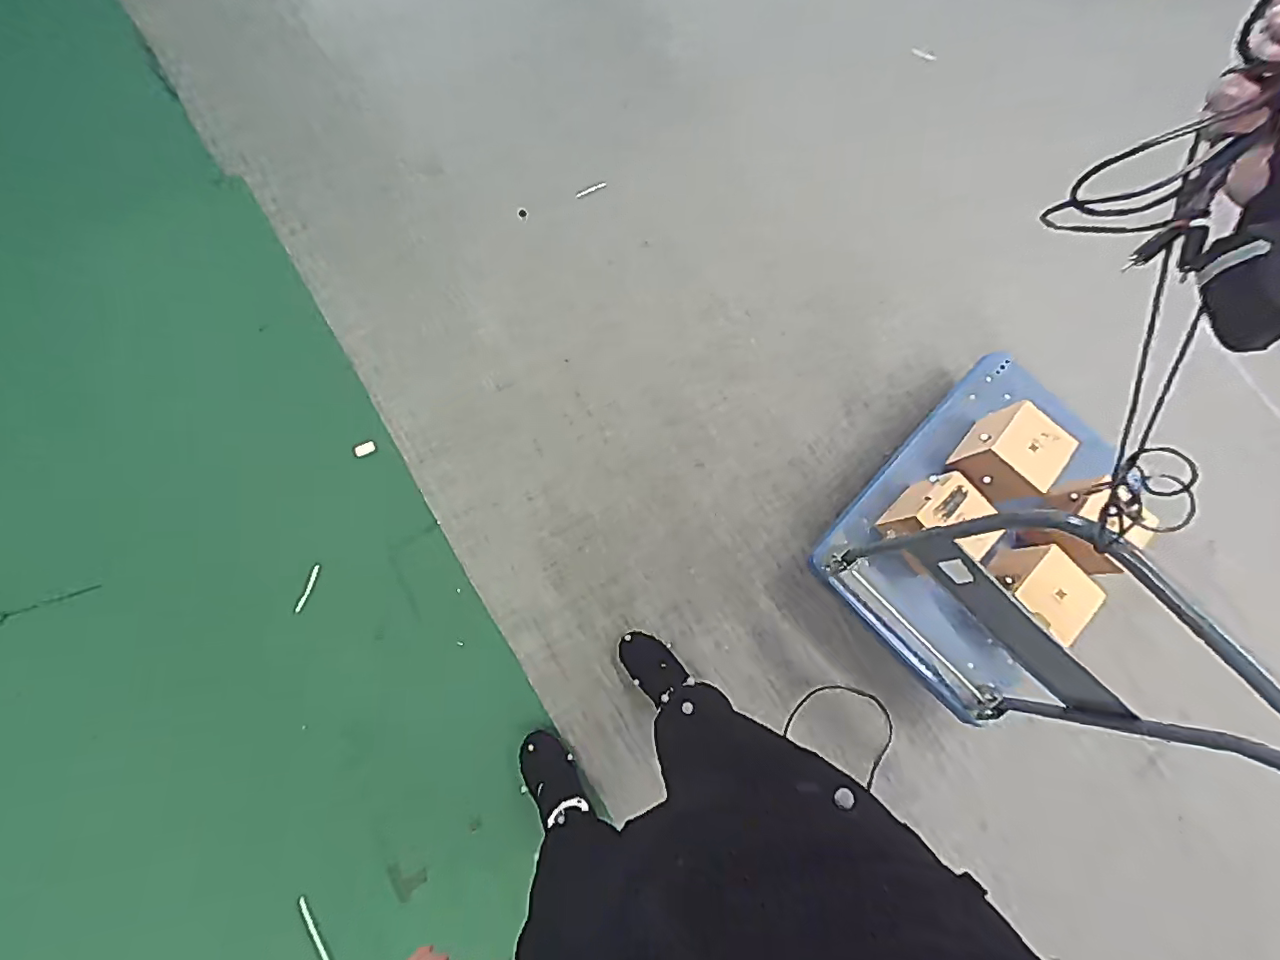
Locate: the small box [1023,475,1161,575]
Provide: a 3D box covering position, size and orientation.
[{"bbox_3d":[1.110,0.117,1.343,0.168,0.176,0.179,44,77,5],"label":"small box"}]

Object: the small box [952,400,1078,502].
[{"bbox_3d":[0.931,-0.065,1.363,0.168,0.176,0.179,42,76,3],"label":"small box"}]

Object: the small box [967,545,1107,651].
[{"bbox_3d":[0.934,0.278,1.289,0.179,0.176,0.168,-42,85,-13],"label":"small box"}]
